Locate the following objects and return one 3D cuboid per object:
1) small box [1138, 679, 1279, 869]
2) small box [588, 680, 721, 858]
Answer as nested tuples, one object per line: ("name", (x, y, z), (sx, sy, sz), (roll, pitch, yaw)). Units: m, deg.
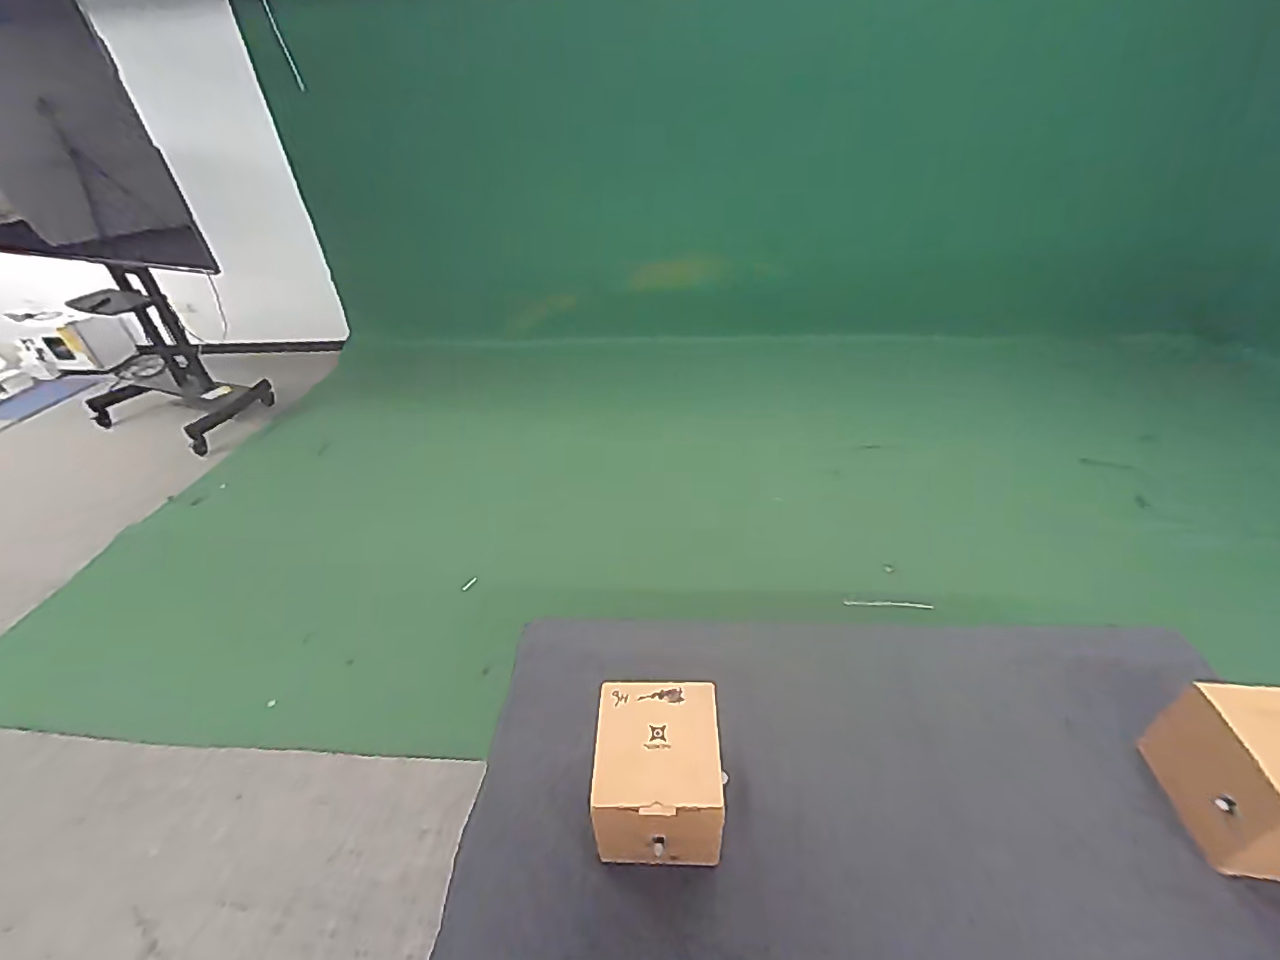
("small box", (0.831, 0.392, 0.713), (0.168, 0.176, 0.179), (2, 35, 6))
("small box", (0.025, 0.409, 0.766), (0.168, 0.176, 0.179), (-1, 36, 3))
